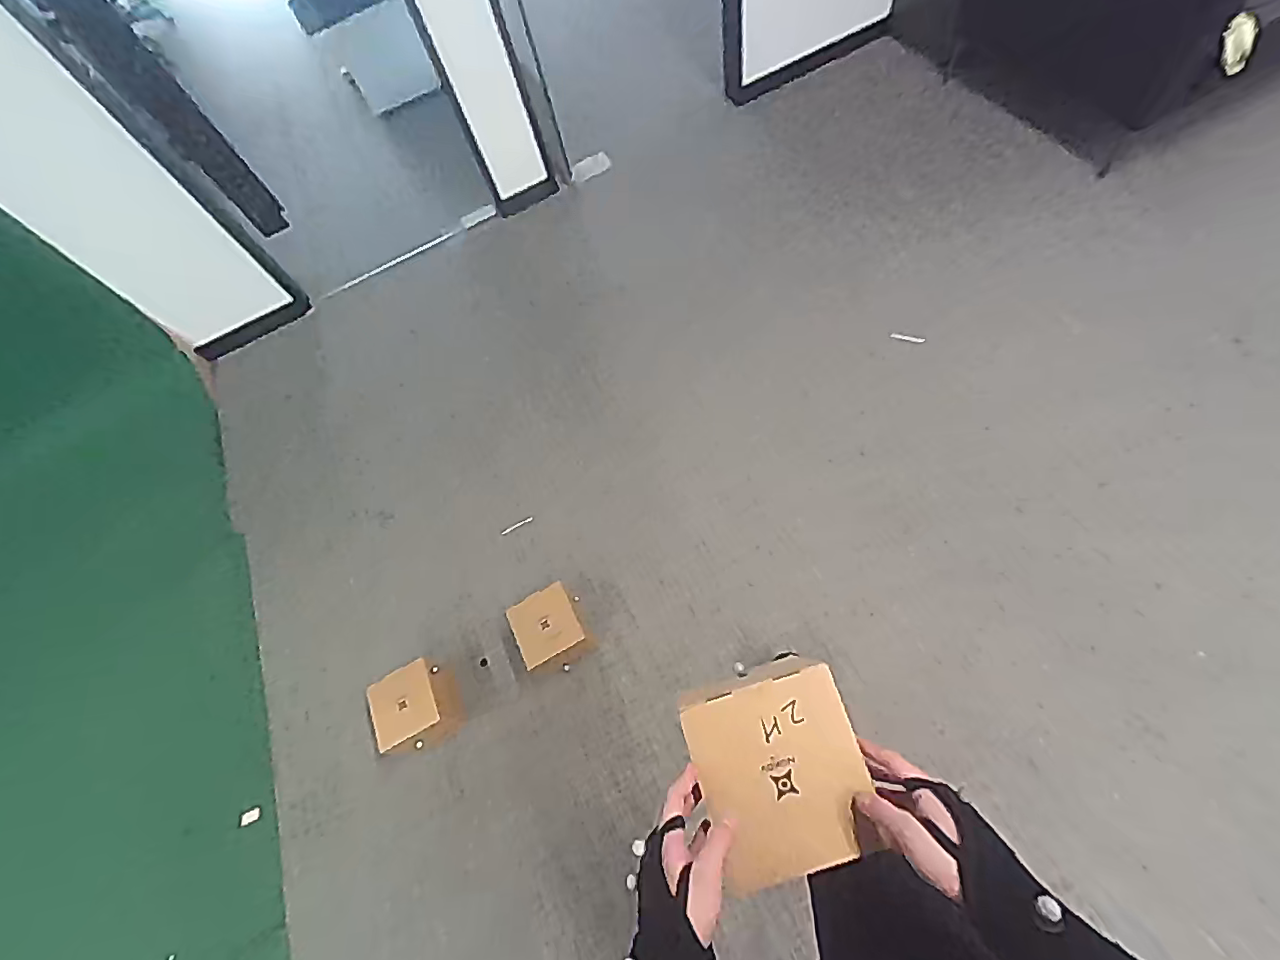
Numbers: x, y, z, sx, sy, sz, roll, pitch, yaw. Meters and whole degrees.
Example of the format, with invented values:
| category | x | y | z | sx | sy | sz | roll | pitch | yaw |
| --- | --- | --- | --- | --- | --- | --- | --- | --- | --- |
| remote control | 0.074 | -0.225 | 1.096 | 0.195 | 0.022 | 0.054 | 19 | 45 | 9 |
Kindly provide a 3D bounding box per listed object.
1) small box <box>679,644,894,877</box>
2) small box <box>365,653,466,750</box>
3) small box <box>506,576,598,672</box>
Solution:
| category | x | y | z | sx | sy | sz | roll | pitch | yaw |
| --- | --- | --- | --- | --- | --- | --- | --- | --- | --- |
| small box | 0.147 | 0.295 | 0.610 | 0.168 | 0.176 | 0.179 | -17 | 74 | -1 |
| small box | -0.582 | 0.582 | 1.419 | 0.168 | 0.176 | 0.179 | -29 | 61 | -4 |
| small box | -0.232 | 0.391 | 1.451 | 0.168 | 0.176 | 0.179 | -29 | 62 | -4 |
